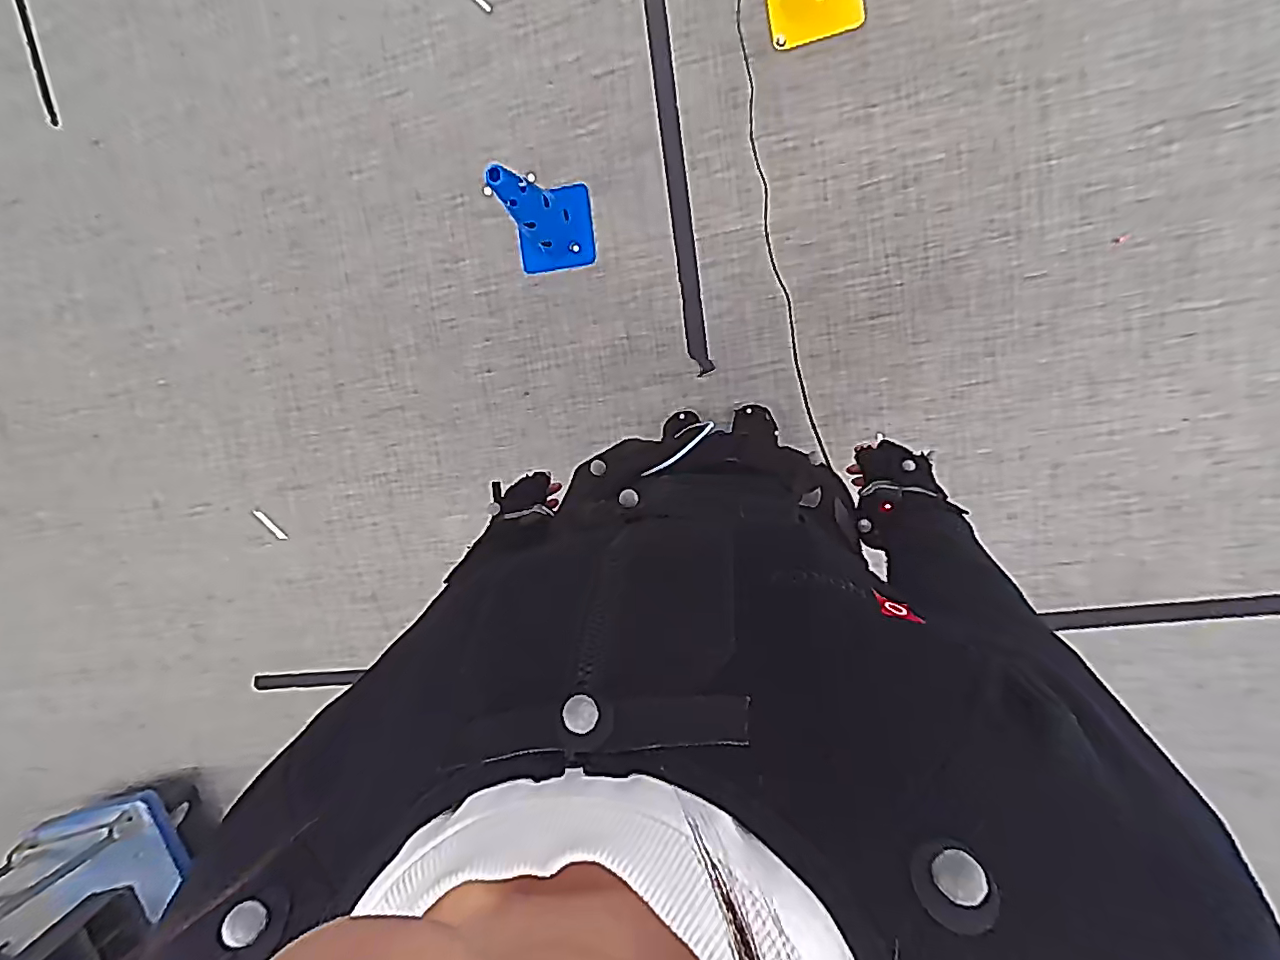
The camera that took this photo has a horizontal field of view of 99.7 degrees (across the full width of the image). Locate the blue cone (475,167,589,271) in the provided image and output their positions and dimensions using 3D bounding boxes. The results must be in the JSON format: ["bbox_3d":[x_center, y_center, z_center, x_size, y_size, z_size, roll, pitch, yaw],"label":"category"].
[{"bbox_3d":[-0.259,-0.625,1.236,0.192,0.380,0.193,-3,98,12],"label":"blue cone"}]
